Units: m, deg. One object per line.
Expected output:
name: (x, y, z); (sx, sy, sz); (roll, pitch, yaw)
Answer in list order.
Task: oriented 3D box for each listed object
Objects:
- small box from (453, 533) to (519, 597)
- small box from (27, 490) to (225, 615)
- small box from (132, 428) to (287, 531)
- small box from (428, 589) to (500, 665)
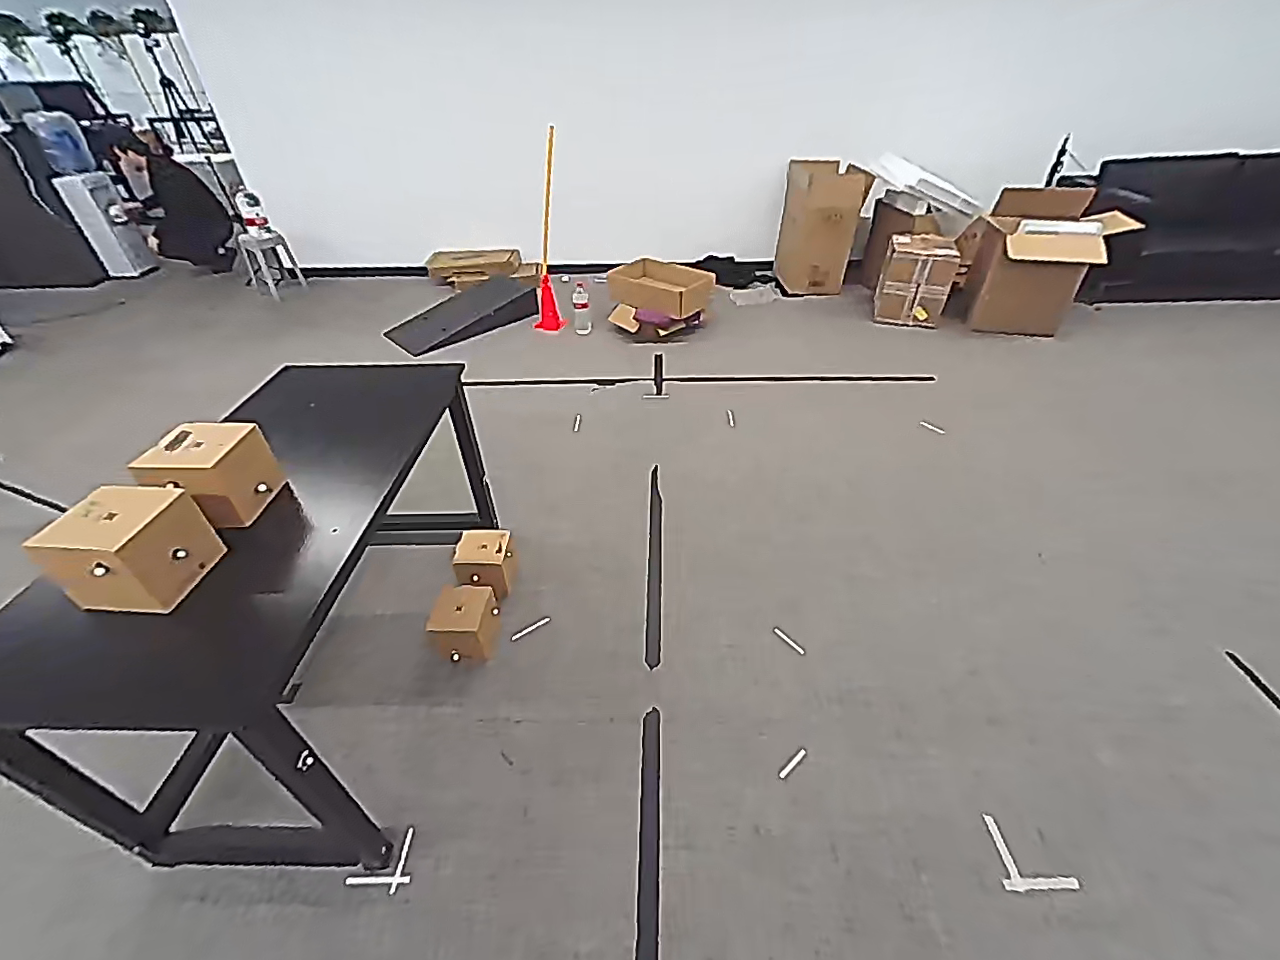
small box: (-0.553, 0.311, 1.961); (0.179, 0.176, 0.168); (-1, 39, 2)
small box: (-0.949, 0.138, 1.023); (0.179, 0.176, 0.168); (1, 38, 4)
small box: (-0.938, -0.001, 1.198); (0.179, 0.176, 0.168); (0, 39, 1)
small box: (-0.563, 0.476, 1.757); (0.168, 0.176, 0.179); (-1, 39, 2)
